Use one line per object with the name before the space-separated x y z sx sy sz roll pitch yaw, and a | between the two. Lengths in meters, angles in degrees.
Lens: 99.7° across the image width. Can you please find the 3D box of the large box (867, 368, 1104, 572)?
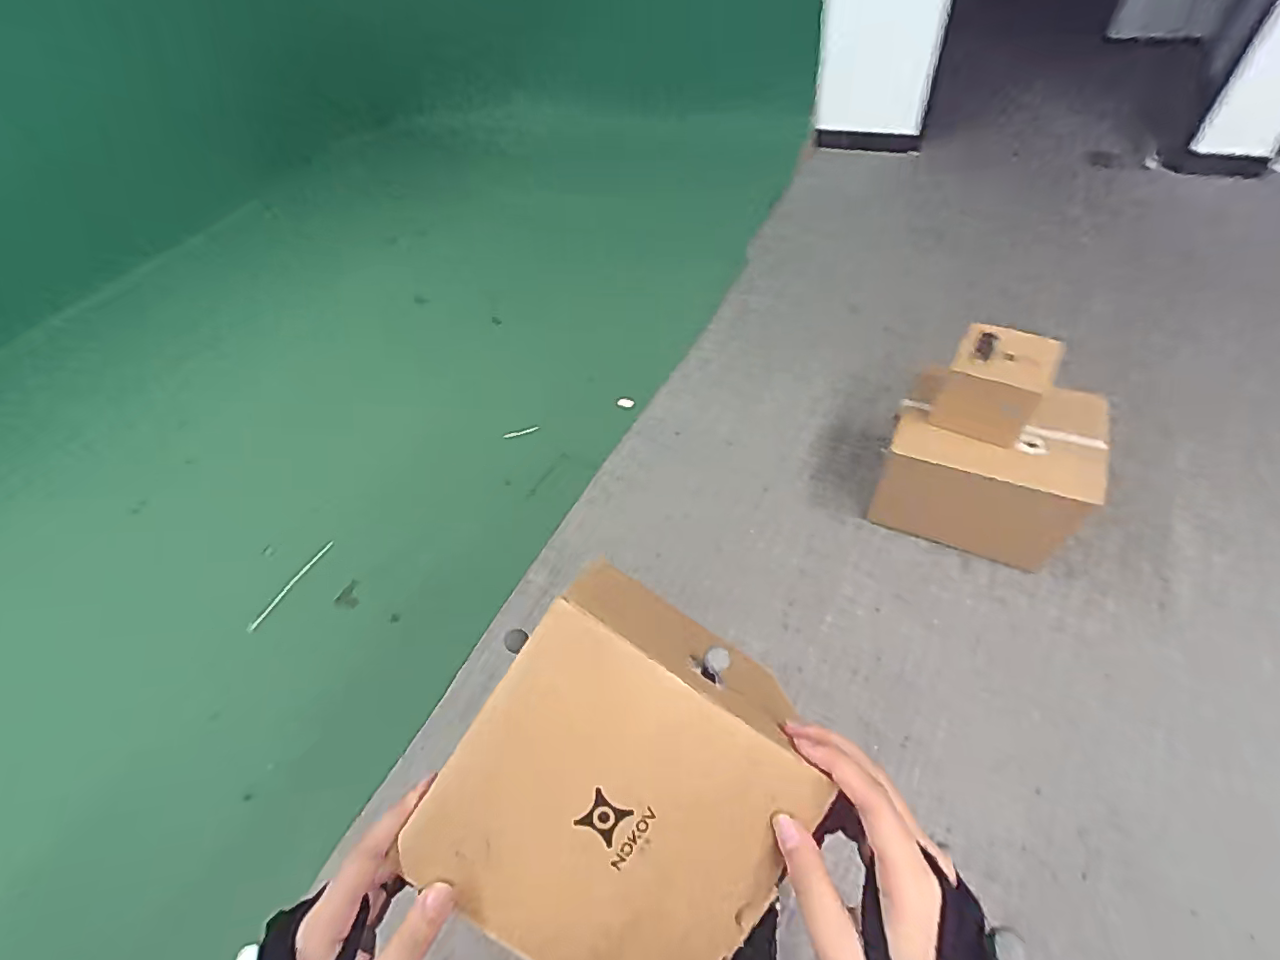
large box | 0.824 -0.027 1.337 0.408 0.320 0.320 18 60 21
